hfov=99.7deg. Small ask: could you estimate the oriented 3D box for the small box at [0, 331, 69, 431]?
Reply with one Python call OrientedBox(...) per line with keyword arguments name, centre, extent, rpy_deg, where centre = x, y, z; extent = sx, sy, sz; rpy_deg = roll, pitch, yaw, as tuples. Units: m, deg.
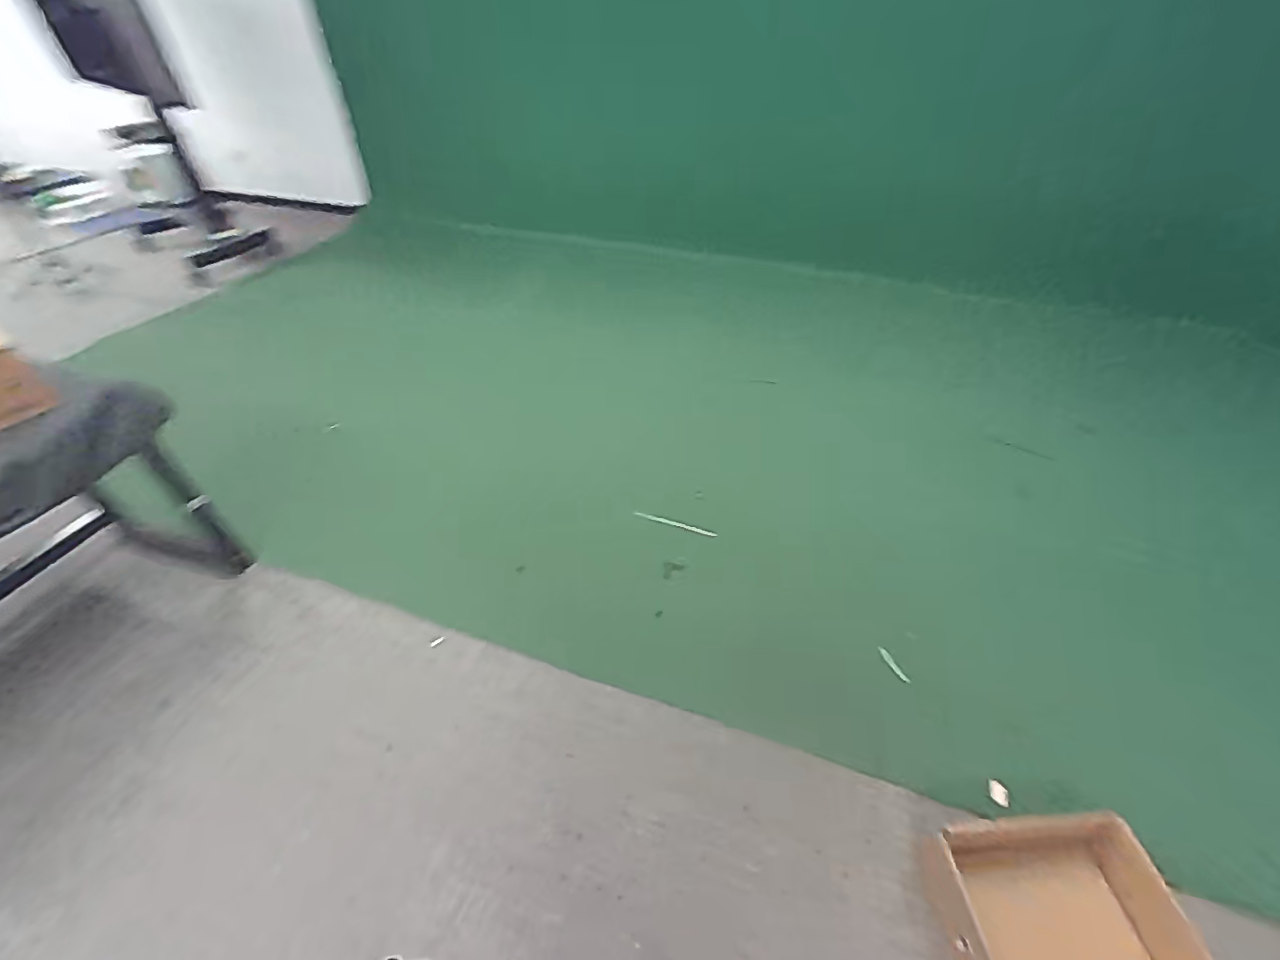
OrientedBox(name="small box", centre=(-1.489, -0.222, 1.241), extent=(0.179, 0.176, 0.168), rpy_deg=(22, 47, 25))
